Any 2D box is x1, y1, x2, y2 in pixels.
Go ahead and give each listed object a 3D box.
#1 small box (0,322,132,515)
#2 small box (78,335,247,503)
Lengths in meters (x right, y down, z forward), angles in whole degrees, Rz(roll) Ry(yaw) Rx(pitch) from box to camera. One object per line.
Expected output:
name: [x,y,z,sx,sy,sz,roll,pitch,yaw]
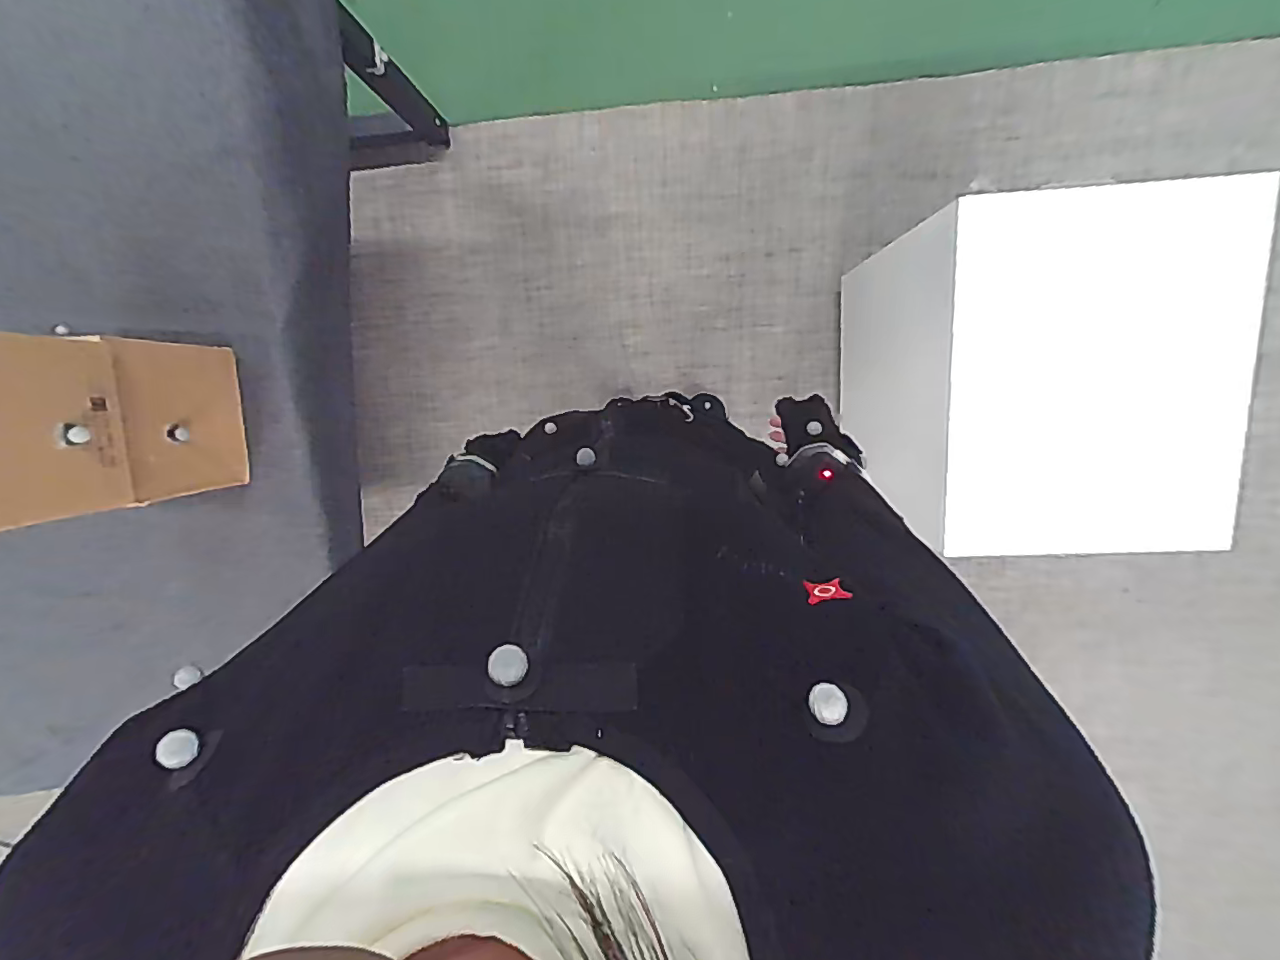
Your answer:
small box: [-0.621,-0.051,0.479,0.179,0.176,0.168,-2,99,7]
small box: [-0.609,-0.077,0.641,0.168,0.176,0.179,0,100,5]
